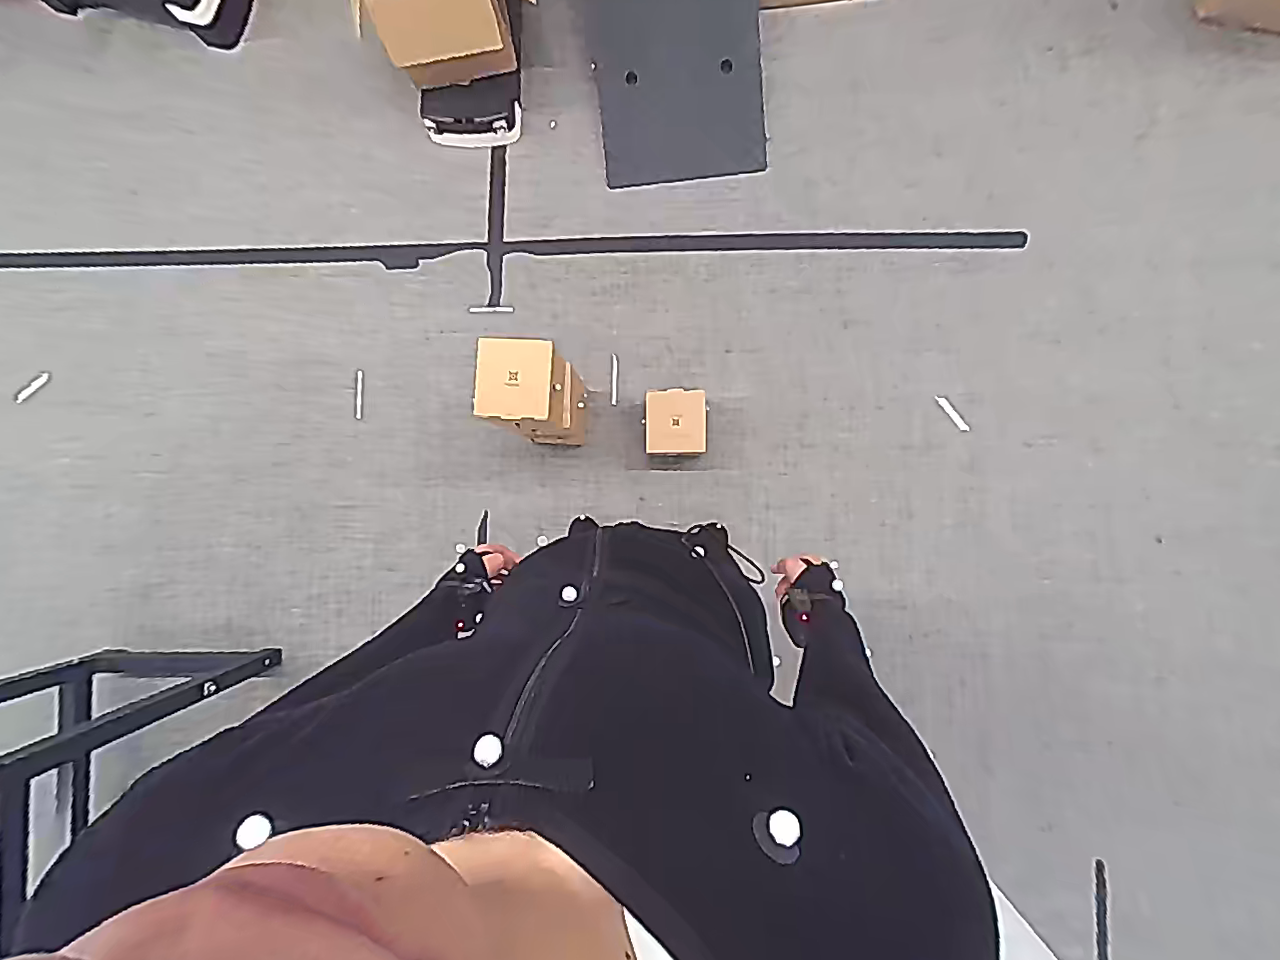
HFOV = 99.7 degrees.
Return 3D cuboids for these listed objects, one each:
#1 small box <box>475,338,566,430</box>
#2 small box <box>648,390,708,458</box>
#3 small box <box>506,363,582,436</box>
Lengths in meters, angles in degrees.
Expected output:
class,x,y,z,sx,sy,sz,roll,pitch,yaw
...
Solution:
class,x,y,z,sx,sy,sz,roll,pitch,yaw
small box,-0.267,-0.215,1.244,0.168,0.176,0.179,3,89,2
small box,0.107,-0.155,1.556,0.168,0.176,0.179,-1,90,4
small box,-0.251,-0.204,1.406,0.179,0.176,0.168,1,89,1
